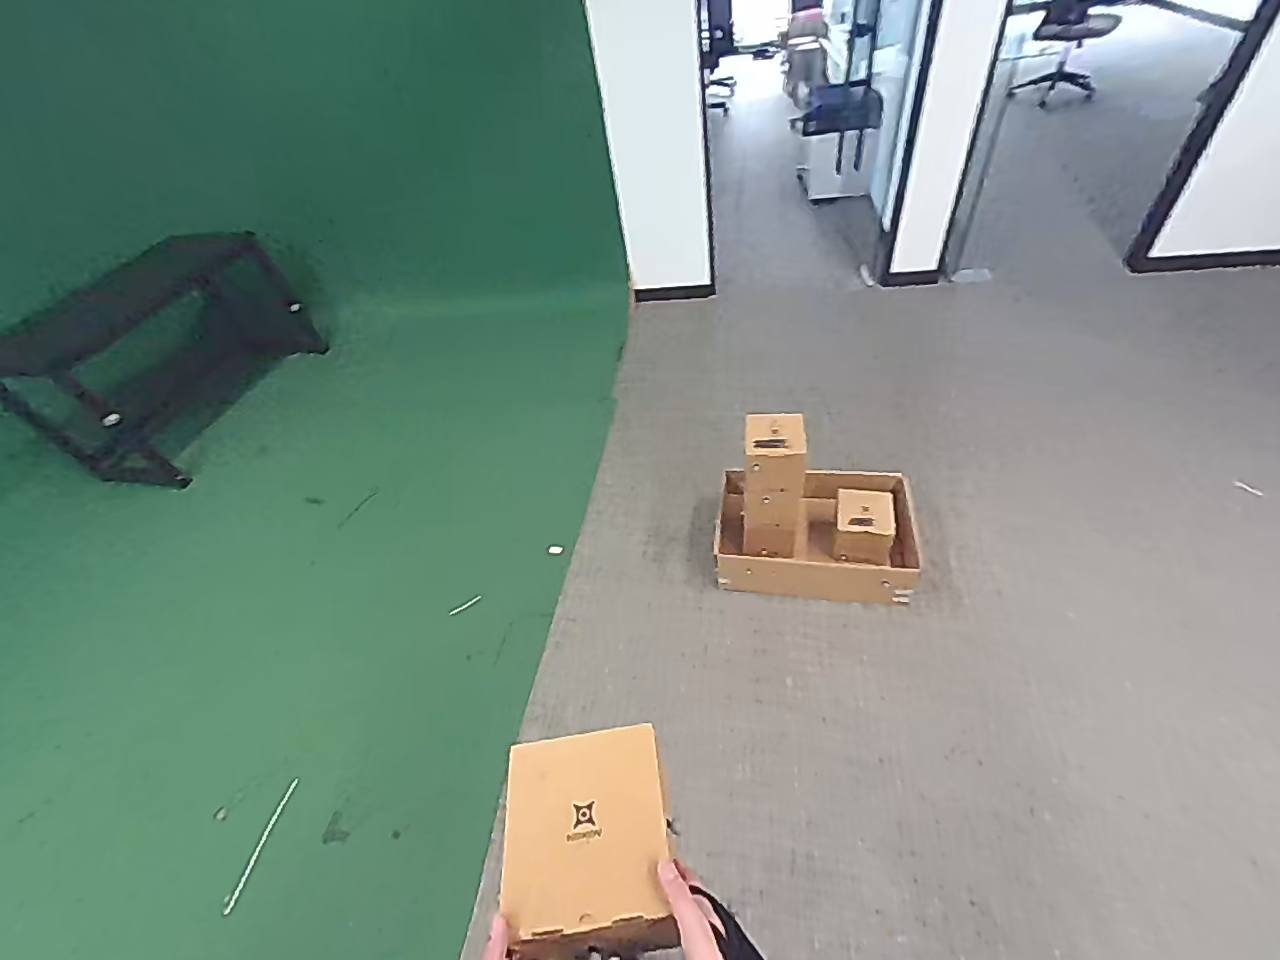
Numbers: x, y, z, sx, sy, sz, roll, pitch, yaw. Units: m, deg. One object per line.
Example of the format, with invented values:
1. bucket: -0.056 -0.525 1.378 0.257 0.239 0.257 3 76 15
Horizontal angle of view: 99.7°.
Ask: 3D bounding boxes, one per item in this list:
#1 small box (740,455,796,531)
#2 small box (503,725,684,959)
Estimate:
1. small box: 0.403 0.039 1.717 0.168 0.176 0.179 0 47 11
2. small box: -0.045 0.404 0.606 0.168 0.176 0.179 -8 43 0
